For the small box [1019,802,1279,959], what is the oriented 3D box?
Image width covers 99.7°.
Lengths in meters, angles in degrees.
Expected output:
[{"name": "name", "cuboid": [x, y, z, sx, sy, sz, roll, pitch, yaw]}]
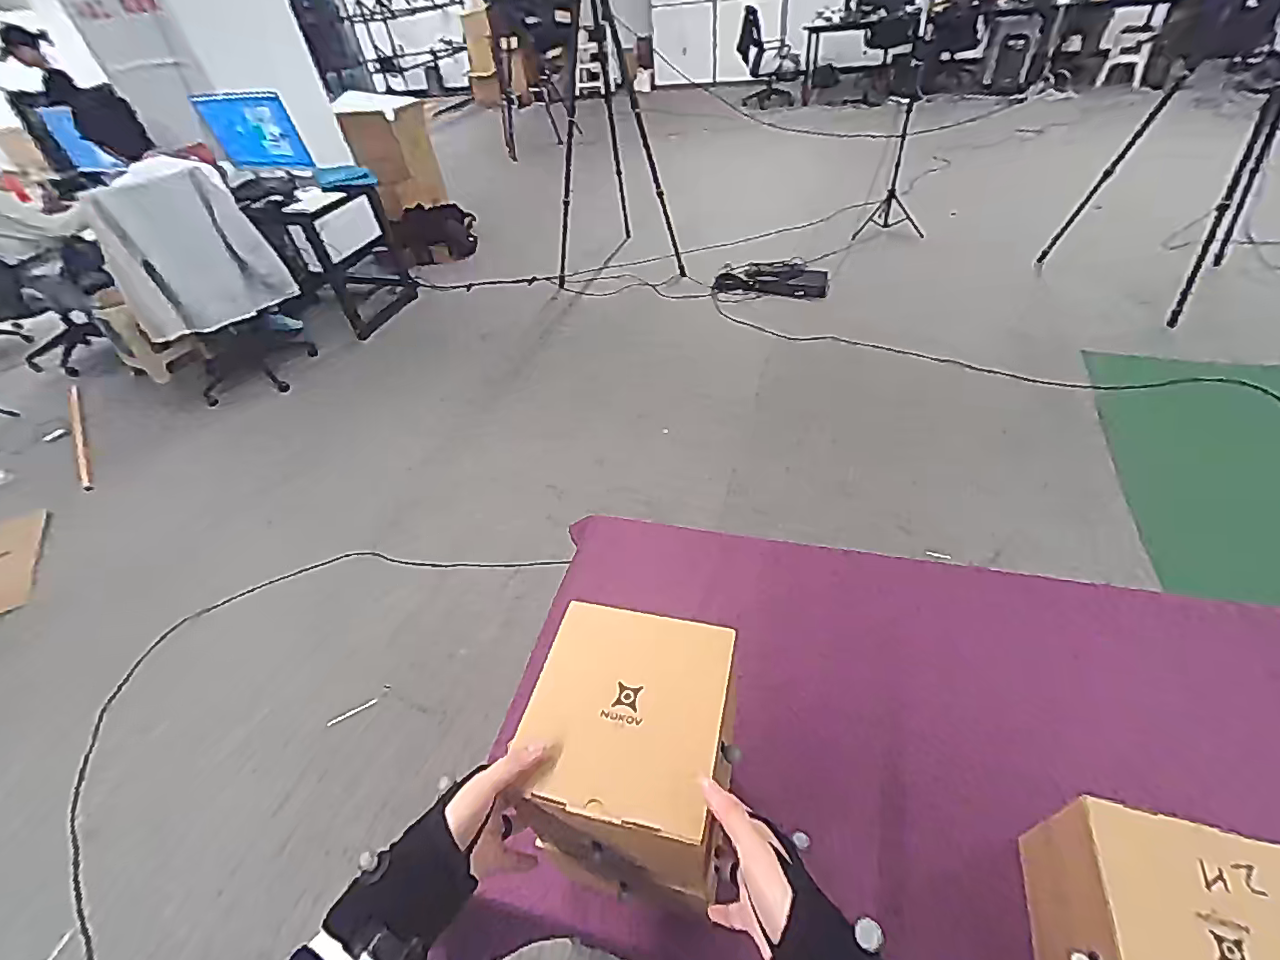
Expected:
[{"name": "small box", "cuboid": [0.479, 0.436, 0.493, 0.168, 0.176, 0.179, 10, 46, 16]}]

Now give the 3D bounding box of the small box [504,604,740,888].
[{"name": "small box", "cuboid": [-0.002, 0.250, 0.515, 0.168, 0.176, 0.179, 7, 46, 15]}]
